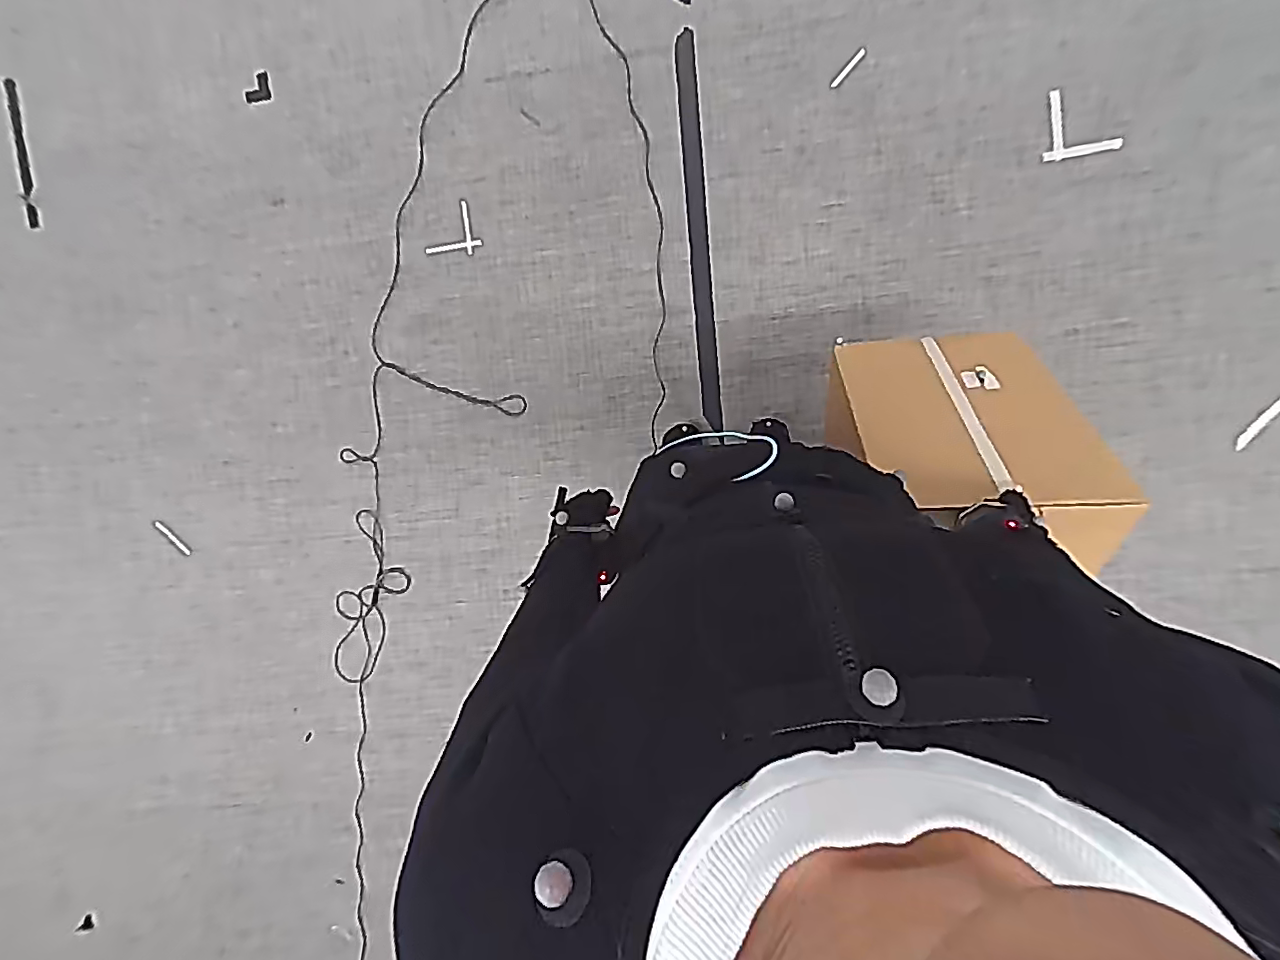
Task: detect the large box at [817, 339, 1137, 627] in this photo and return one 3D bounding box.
[{"bbox_3d":[0.510,0.002,0.941,0.320,0.408,0.320,-2,134,7],"label":"large box"}]
